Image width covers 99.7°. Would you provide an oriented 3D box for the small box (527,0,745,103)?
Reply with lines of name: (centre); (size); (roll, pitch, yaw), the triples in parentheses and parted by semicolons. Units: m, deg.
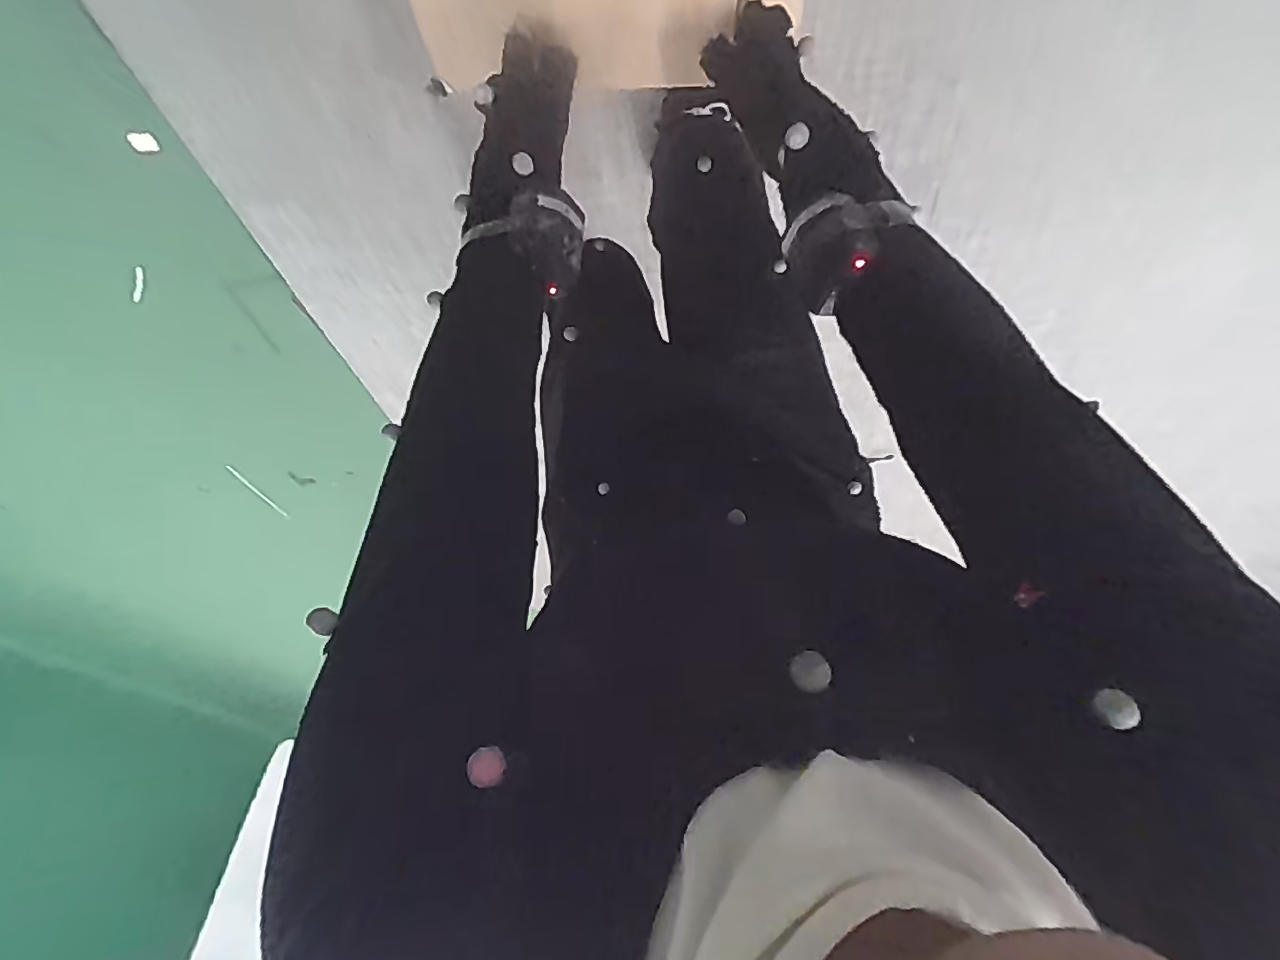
small box: (-0.002, -0.452, 0.464); (0.179, 0.176, 0.168); (-2, 145, 3)
